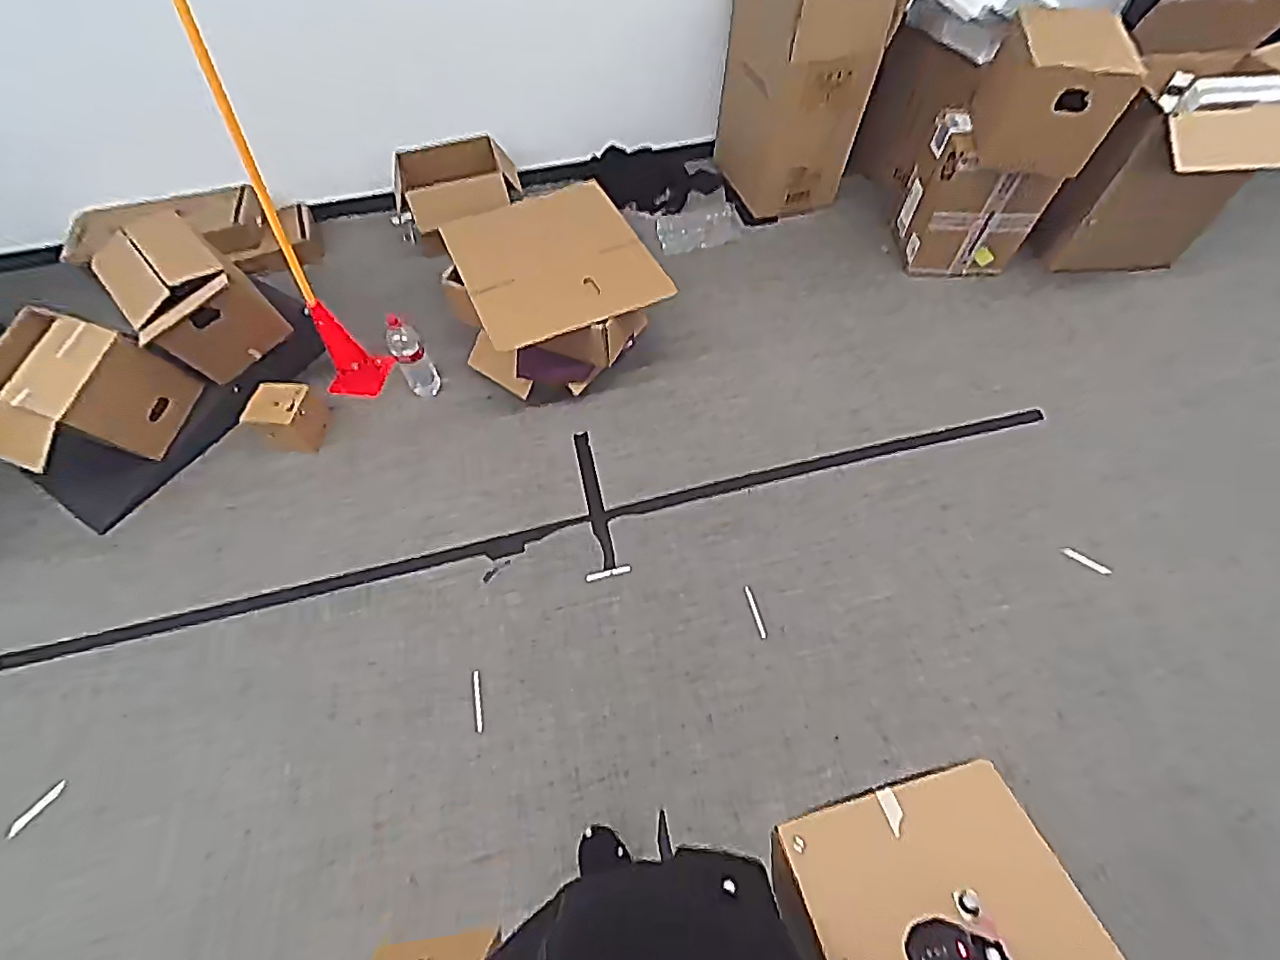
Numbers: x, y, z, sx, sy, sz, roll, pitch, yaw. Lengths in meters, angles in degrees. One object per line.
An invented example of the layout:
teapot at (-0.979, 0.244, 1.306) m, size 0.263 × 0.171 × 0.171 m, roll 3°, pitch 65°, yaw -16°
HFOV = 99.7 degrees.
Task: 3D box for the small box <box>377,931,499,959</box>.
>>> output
small box at (-0.271, 0.713, 0.672) m, size 0.168 × 0.179 × 0.176 m, roll -6°, pitch 71°, yaw -3°
